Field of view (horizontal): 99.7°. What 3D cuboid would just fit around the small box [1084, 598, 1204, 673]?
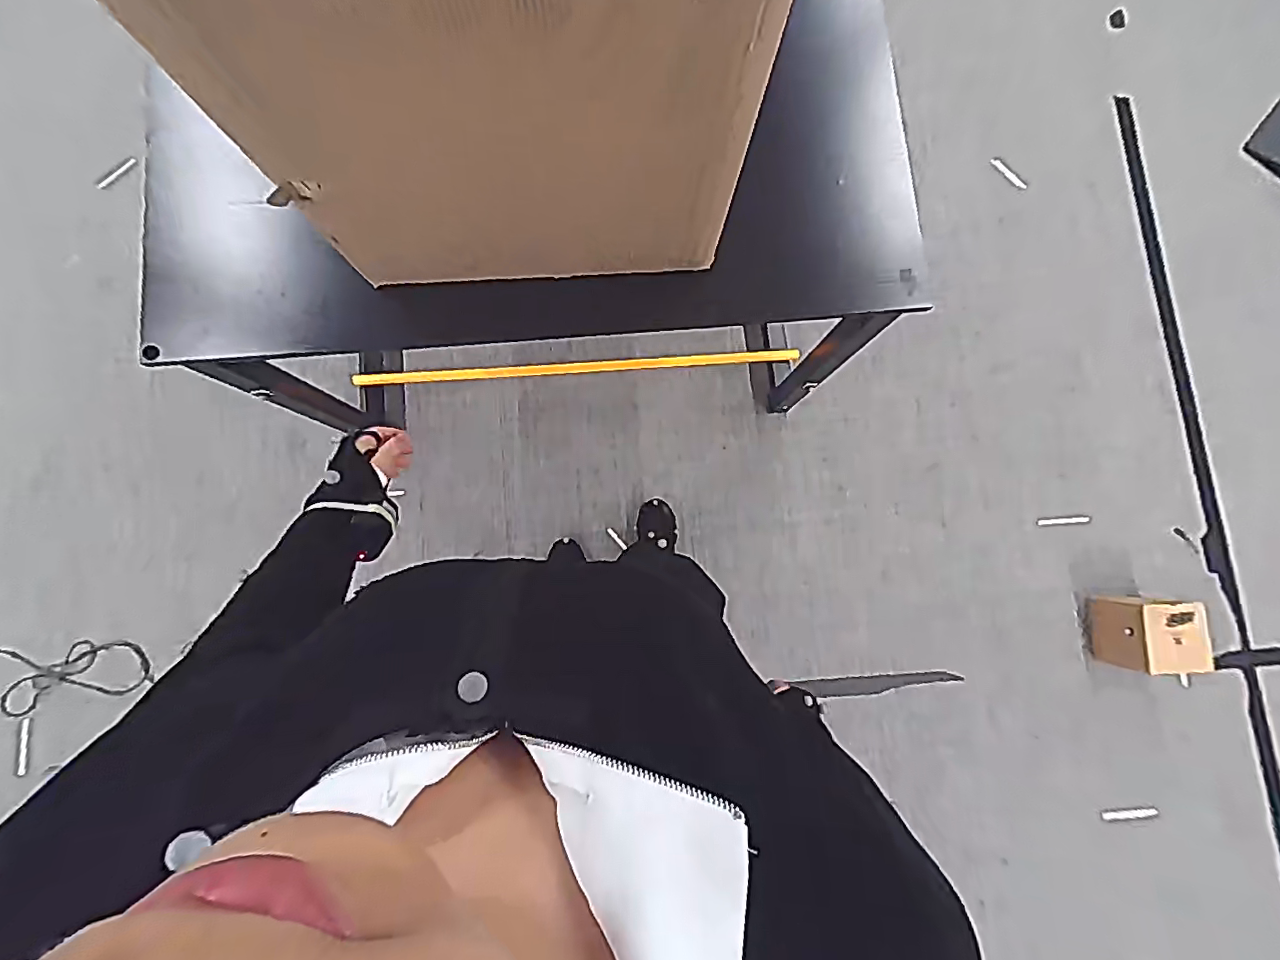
[{"bbox_3d":[1.343,0.411,1.454,0.168,0.176,0.179,-1,84,-2],"label":"small box"}]
